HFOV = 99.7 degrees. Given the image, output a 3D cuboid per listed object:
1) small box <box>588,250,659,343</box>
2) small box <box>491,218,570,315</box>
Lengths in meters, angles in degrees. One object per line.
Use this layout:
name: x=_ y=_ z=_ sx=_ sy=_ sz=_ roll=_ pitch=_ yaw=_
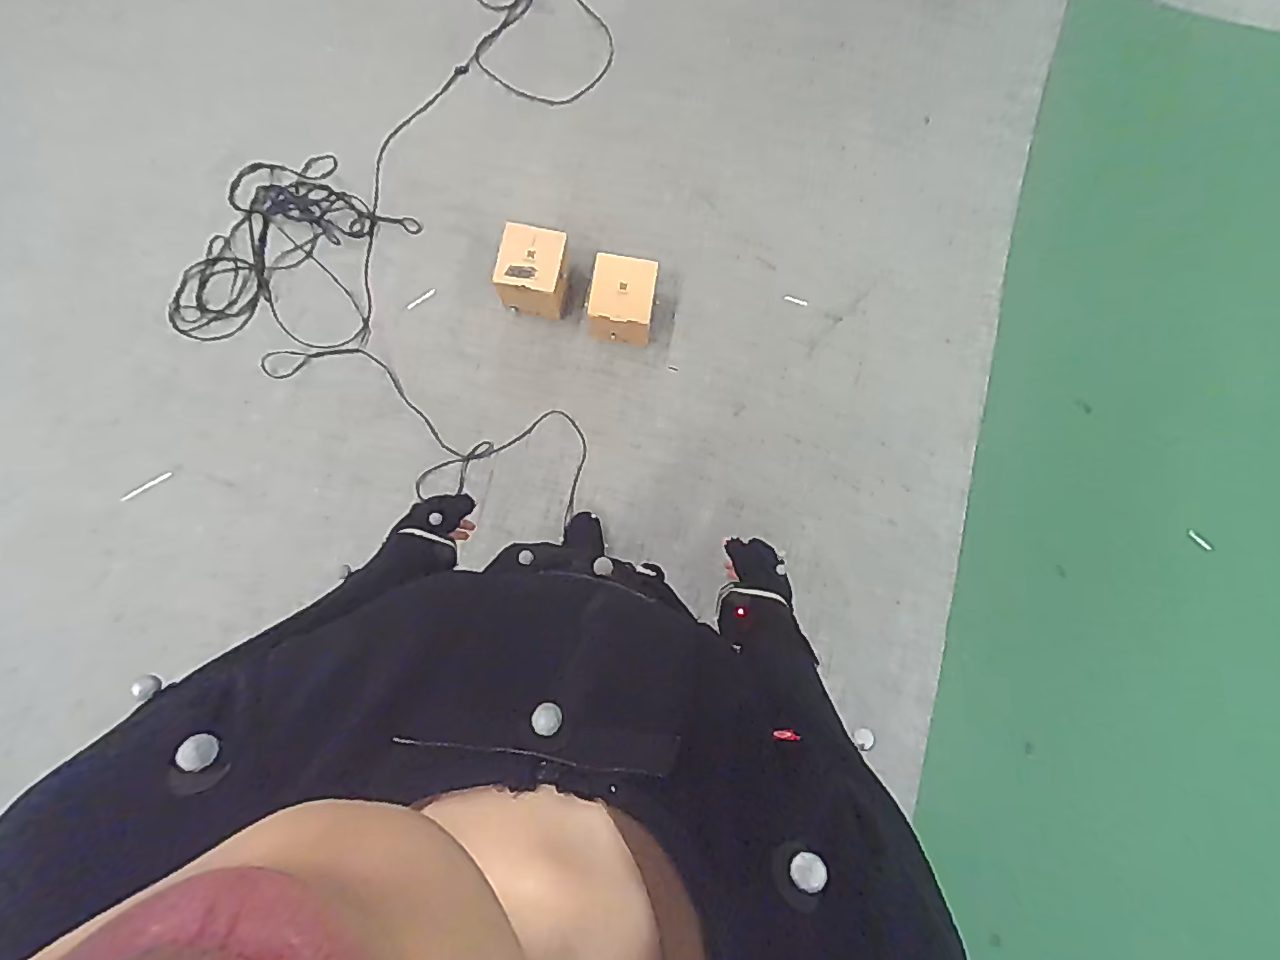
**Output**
small box: x=-0.047 y=-0.498 z=1.485 sx=0.168 sy=0.176 sz=0.179 roll=8 pitch=84 yaw=-1
small box: x=-0.291 y=-0.577 z=1.480 sx=0.168 sy=0.176 sz=0.179 roll=11 pitch=83 yaw=-2
